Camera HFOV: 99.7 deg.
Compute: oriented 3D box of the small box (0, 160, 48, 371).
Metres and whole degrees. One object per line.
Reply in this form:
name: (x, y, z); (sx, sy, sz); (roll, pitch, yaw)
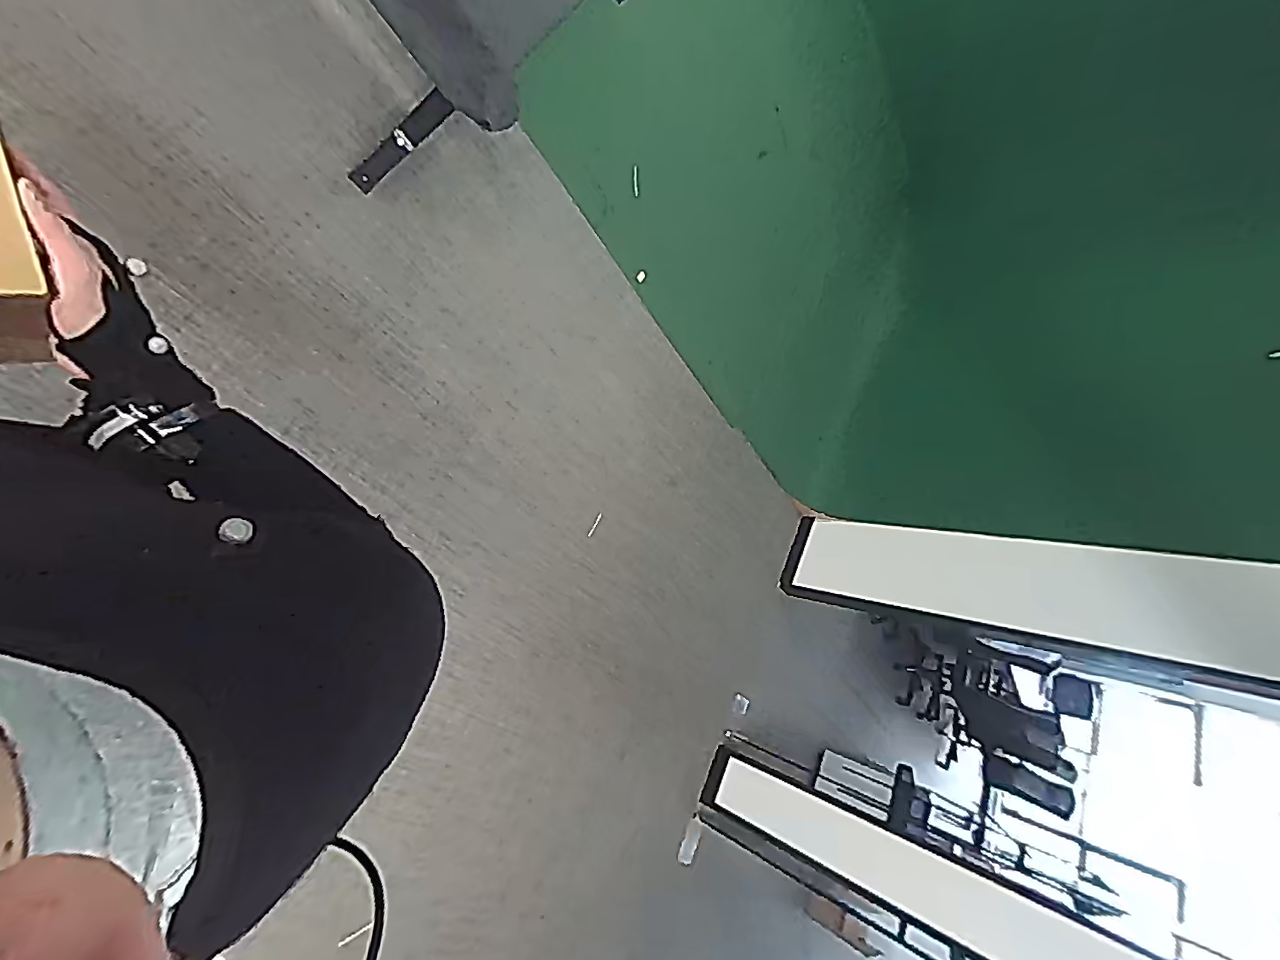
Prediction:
small box: (-0.526, -0.174, 0.348); (0.168, 0.176, 0.179); (-19, 98, -46)
